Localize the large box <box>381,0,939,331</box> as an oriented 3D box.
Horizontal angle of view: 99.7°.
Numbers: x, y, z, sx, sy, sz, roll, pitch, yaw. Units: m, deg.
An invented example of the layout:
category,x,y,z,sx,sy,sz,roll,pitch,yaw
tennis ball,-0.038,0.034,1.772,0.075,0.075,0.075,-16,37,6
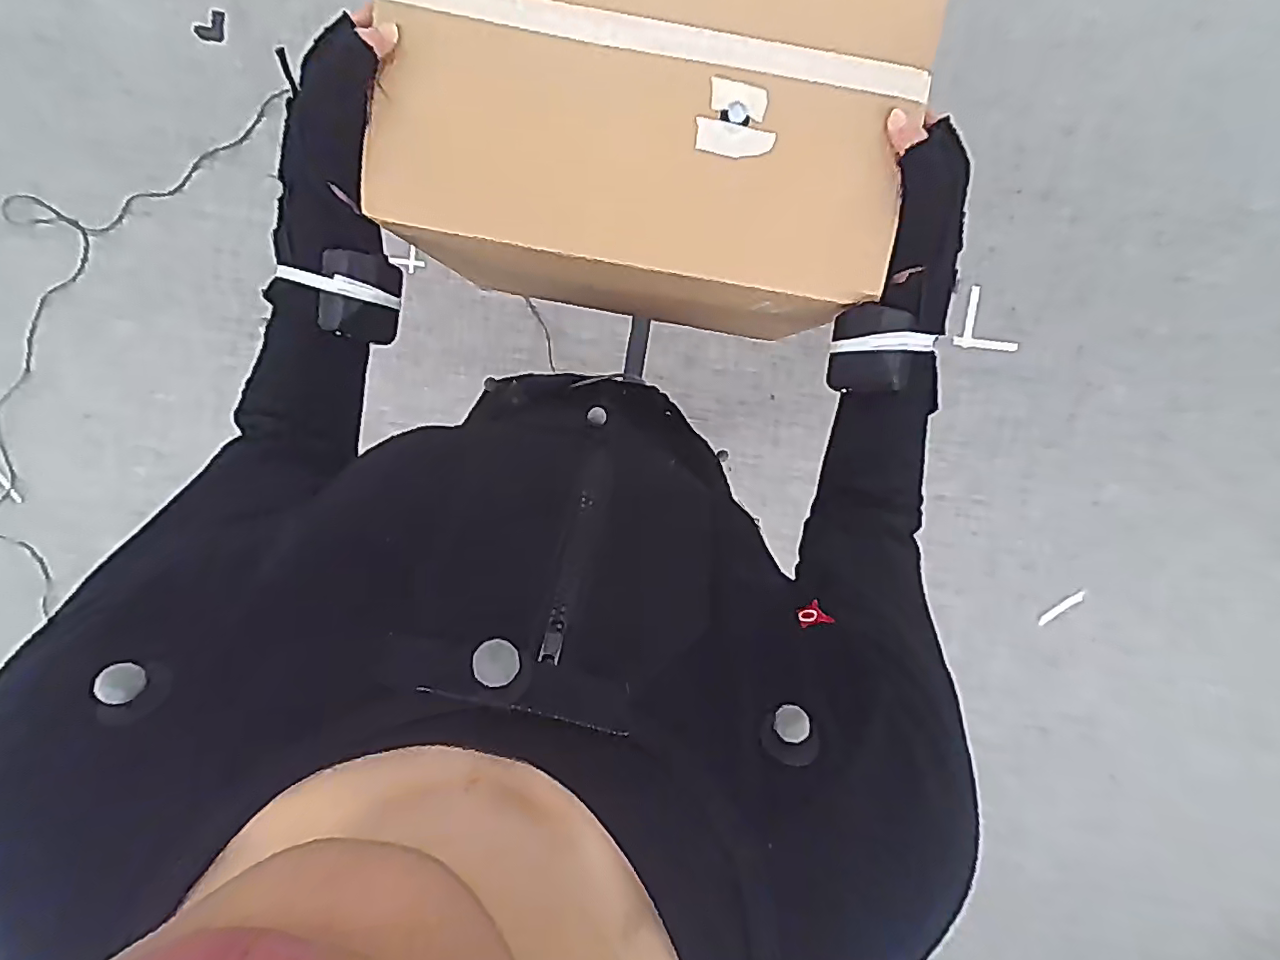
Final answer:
category,x,y,z,sx,sy,sz,roll,pitch,yaw
large box,0.011,-0.350,0.549,0.408,0.320,0.320,9,101,-3
